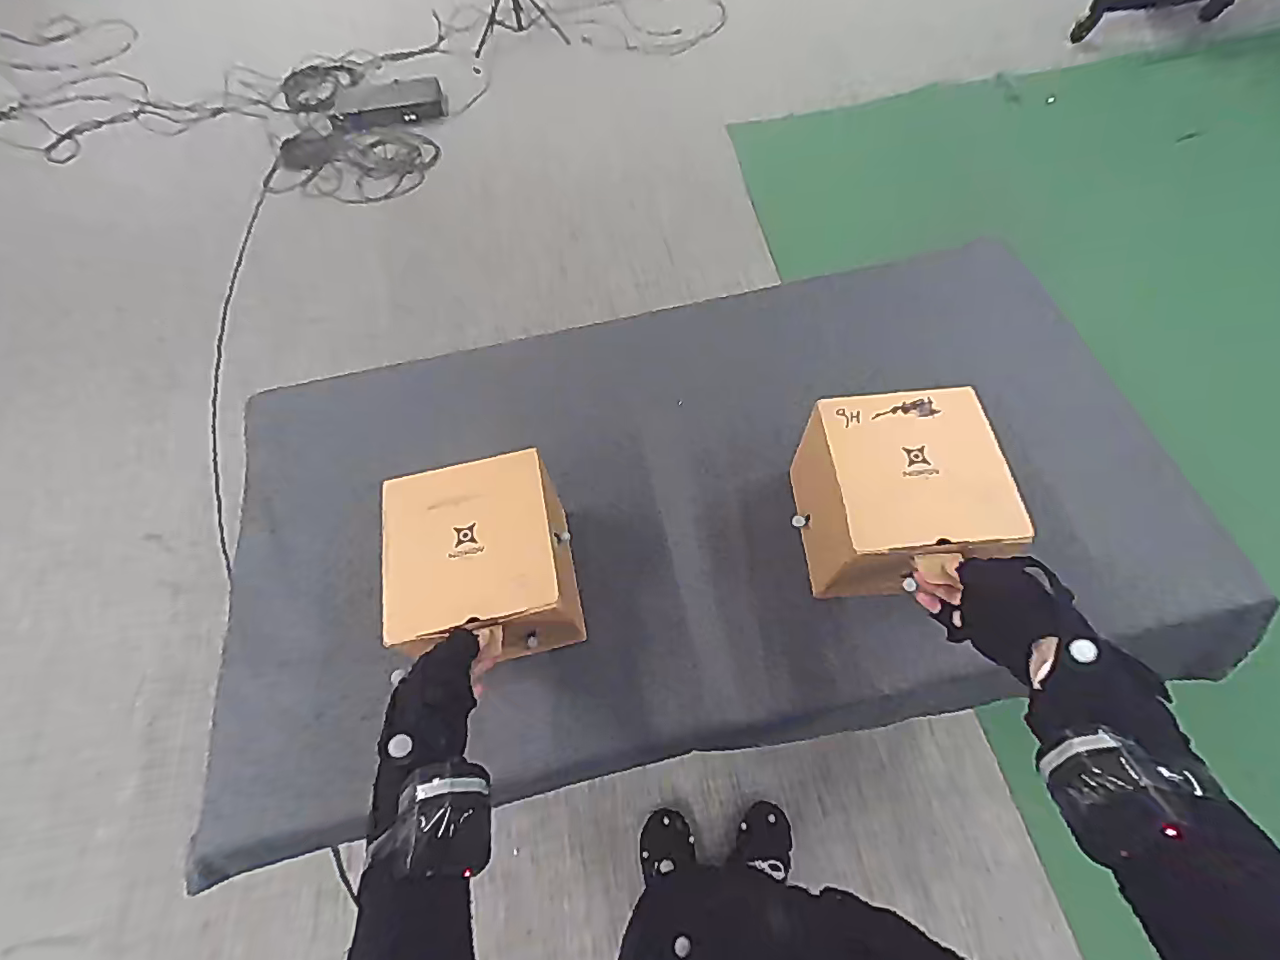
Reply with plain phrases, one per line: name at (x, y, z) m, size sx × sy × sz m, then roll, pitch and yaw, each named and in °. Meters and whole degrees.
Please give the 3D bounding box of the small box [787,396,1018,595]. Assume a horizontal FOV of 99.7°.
small box at (0.275, 0.028, 0.615) m, size 0.168 × 0.176 × 0.179 m, roll -5°, pitch 64°, yaw 2°

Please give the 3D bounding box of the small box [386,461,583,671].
small box at (-0.167, 0.107, 0.613) m, size 0.168 × 0.176 × 0.179 m, roll -13°, pitch 61°, yaw -4°
